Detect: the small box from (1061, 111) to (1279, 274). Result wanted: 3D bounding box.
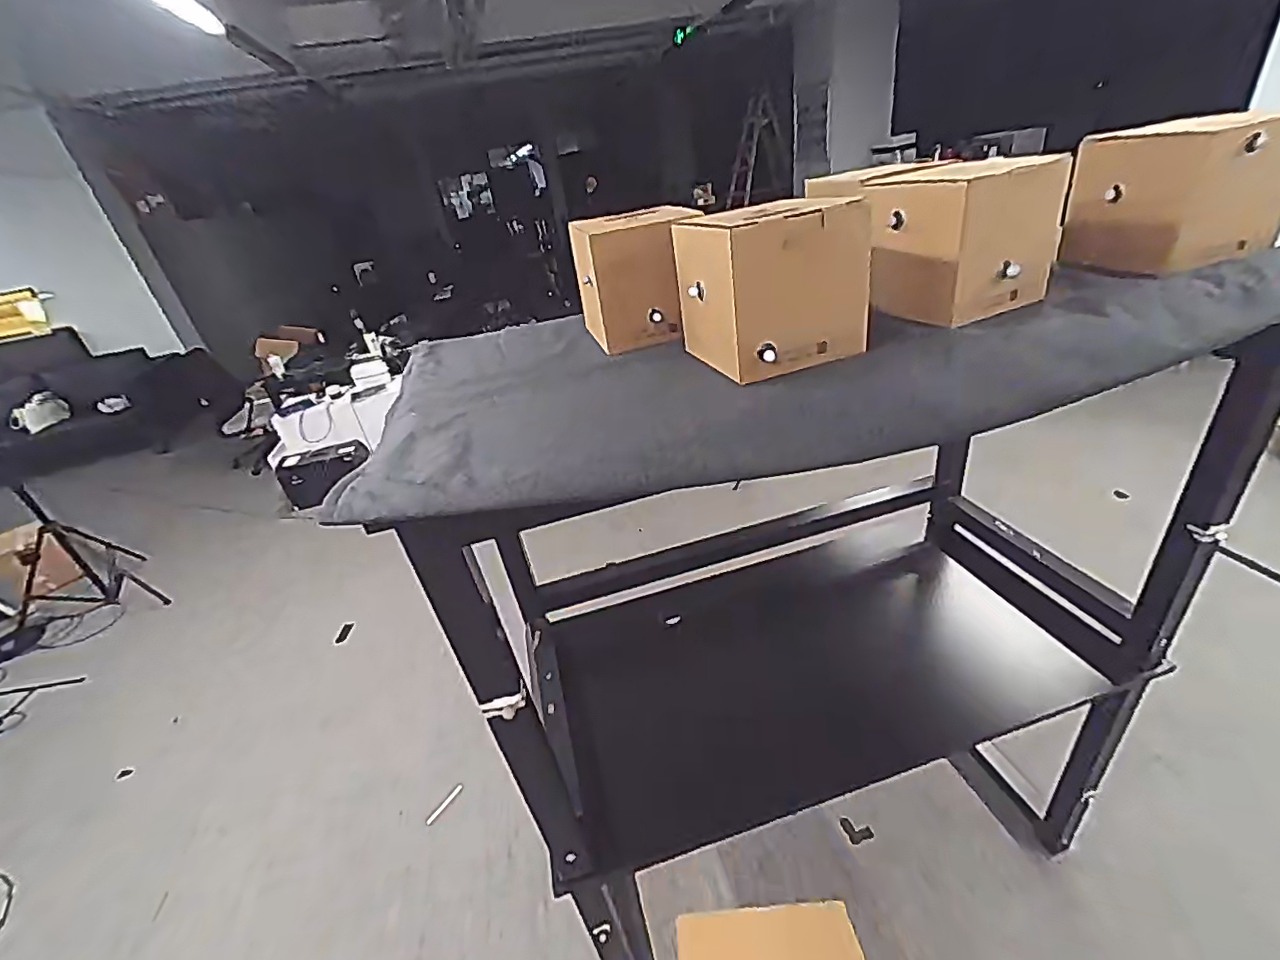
[{"bbox_3d":[0.735,-0.391,0.746,0.168,0.176,0.179,-14,30,-5],"label":"small box"}]

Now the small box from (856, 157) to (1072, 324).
[{"bbox_3d":[0.409,-0.315,0.717,0.168,0.176,0.179,-20,32,-15],"label":"small box"}]

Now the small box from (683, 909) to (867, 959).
[{"bbox_3d":[0.127,0.522,0.463,0.168,0.176,0.179,-4,17,-2],"label":"small box"}]

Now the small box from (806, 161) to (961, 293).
[{"bbox_3d":[0.394,-0.425,0.908,0.179,0.176,0.168,-14,30,-7],"label":"small box"}]
